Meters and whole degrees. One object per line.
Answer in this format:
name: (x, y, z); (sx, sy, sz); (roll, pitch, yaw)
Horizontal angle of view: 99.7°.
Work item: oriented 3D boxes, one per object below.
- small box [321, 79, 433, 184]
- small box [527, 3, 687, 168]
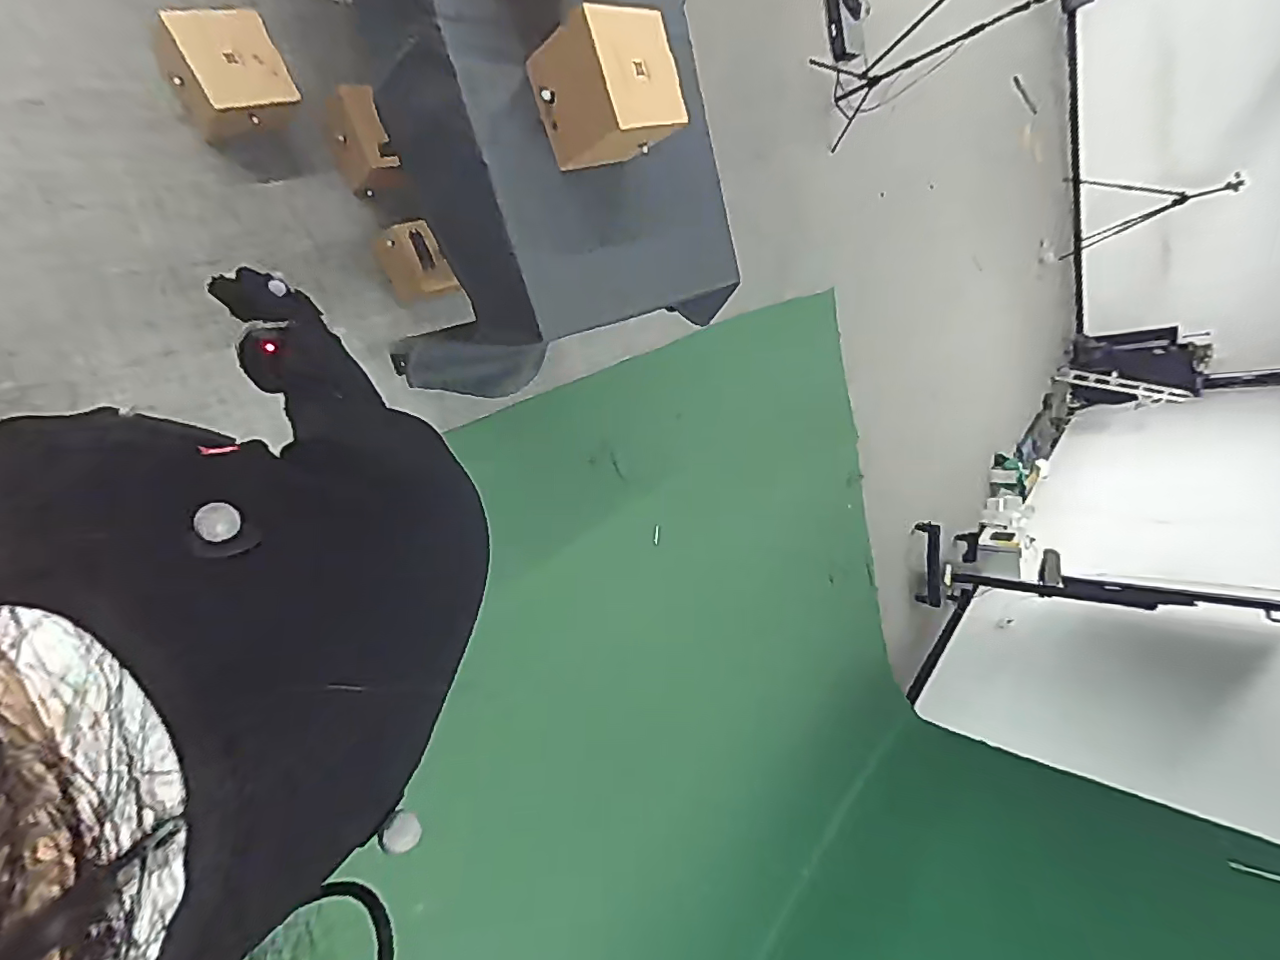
small box: (-0.646, -0.846, 1.327); (0.168, 0.176, 0.179); (-33, 114, -37)
small box: (-0.054, -0.645, 0.902); (0.179, 0.176, 0.168); (-34, 114, -37)
